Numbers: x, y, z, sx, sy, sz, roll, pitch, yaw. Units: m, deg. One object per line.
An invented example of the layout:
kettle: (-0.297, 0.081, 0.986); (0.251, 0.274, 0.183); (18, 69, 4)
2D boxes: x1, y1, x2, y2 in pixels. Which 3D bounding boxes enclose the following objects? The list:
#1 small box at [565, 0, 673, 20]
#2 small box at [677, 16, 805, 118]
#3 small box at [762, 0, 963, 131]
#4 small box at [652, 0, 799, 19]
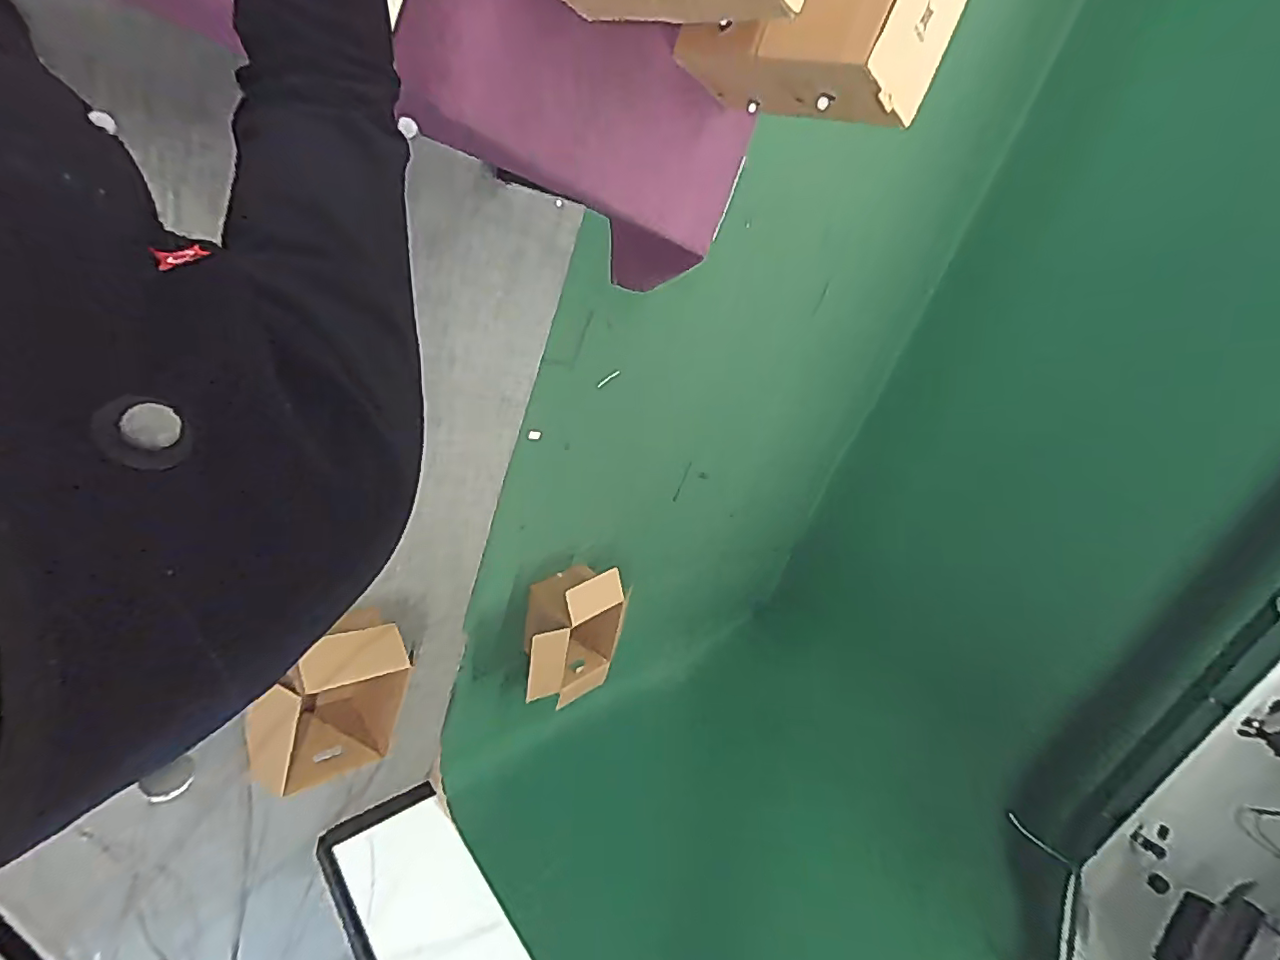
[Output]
small box: (-0.043, -0.641, 0.582); (0.168, 0.176, 0.179); (-4, 121, -48)
small box: (0.180, -0.683, 0.809); (0.168, 0.176, 0.179); (-1, 119, -50)
small box: (0.286, -0.603, 0.712); (0.168, 0.176, 0.179); (-2, 121, -50)
small box: (0.072, -0.567, 0.488); (0.168, 0.176, 0.179); (0, 118, -50)
